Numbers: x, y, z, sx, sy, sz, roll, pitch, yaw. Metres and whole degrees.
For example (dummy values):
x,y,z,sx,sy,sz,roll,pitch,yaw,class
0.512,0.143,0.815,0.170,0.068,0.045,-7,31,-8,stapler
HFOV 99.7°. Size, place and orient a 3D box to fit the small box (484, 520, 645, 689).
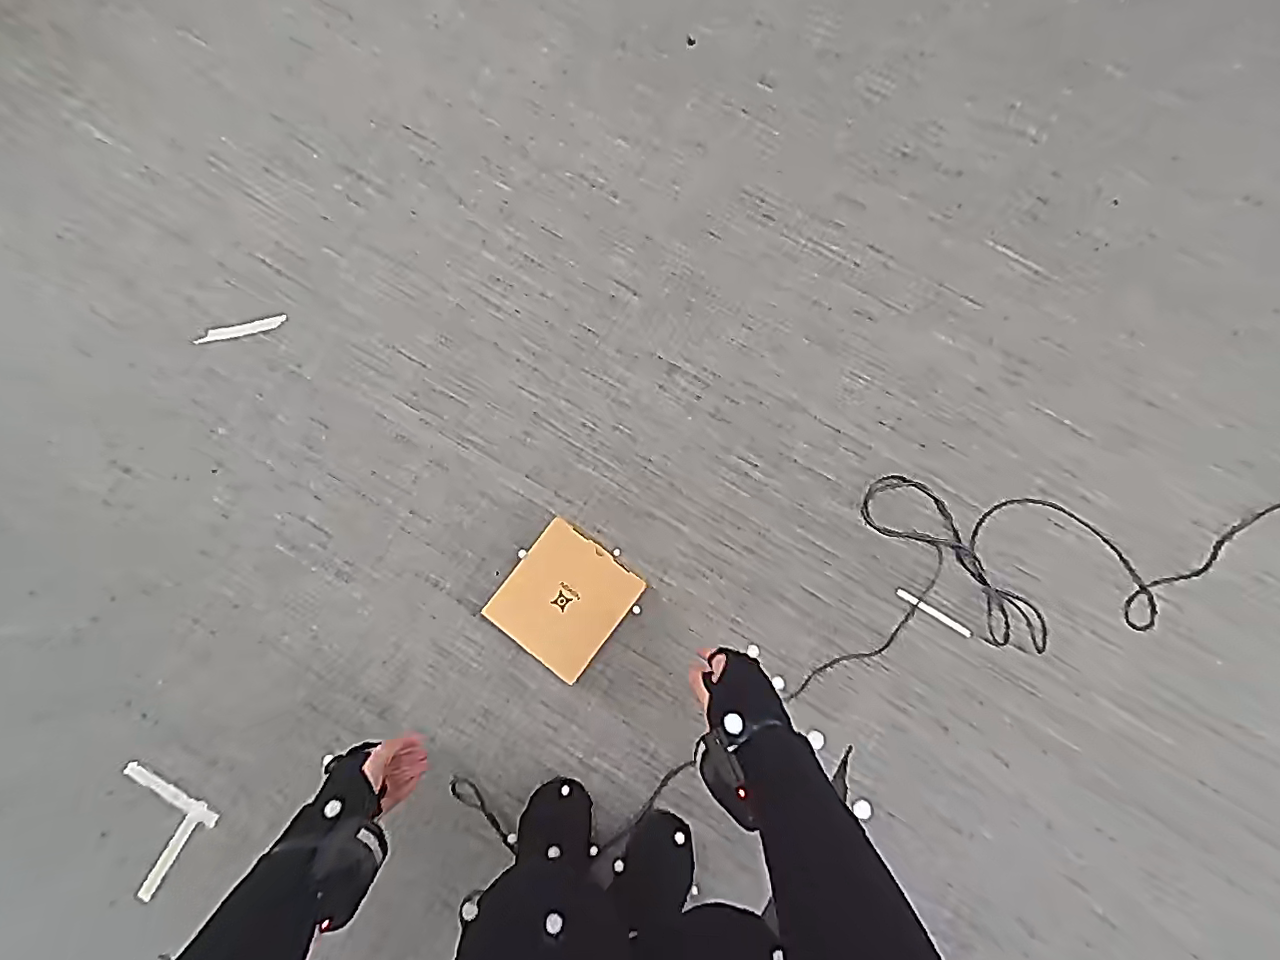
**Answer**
x,y,z,sx,sy,sz,roll,pitch,yaw,class
-0.103,0.186,0.835,0.168,0.176,0.179,37,82,6,small box
